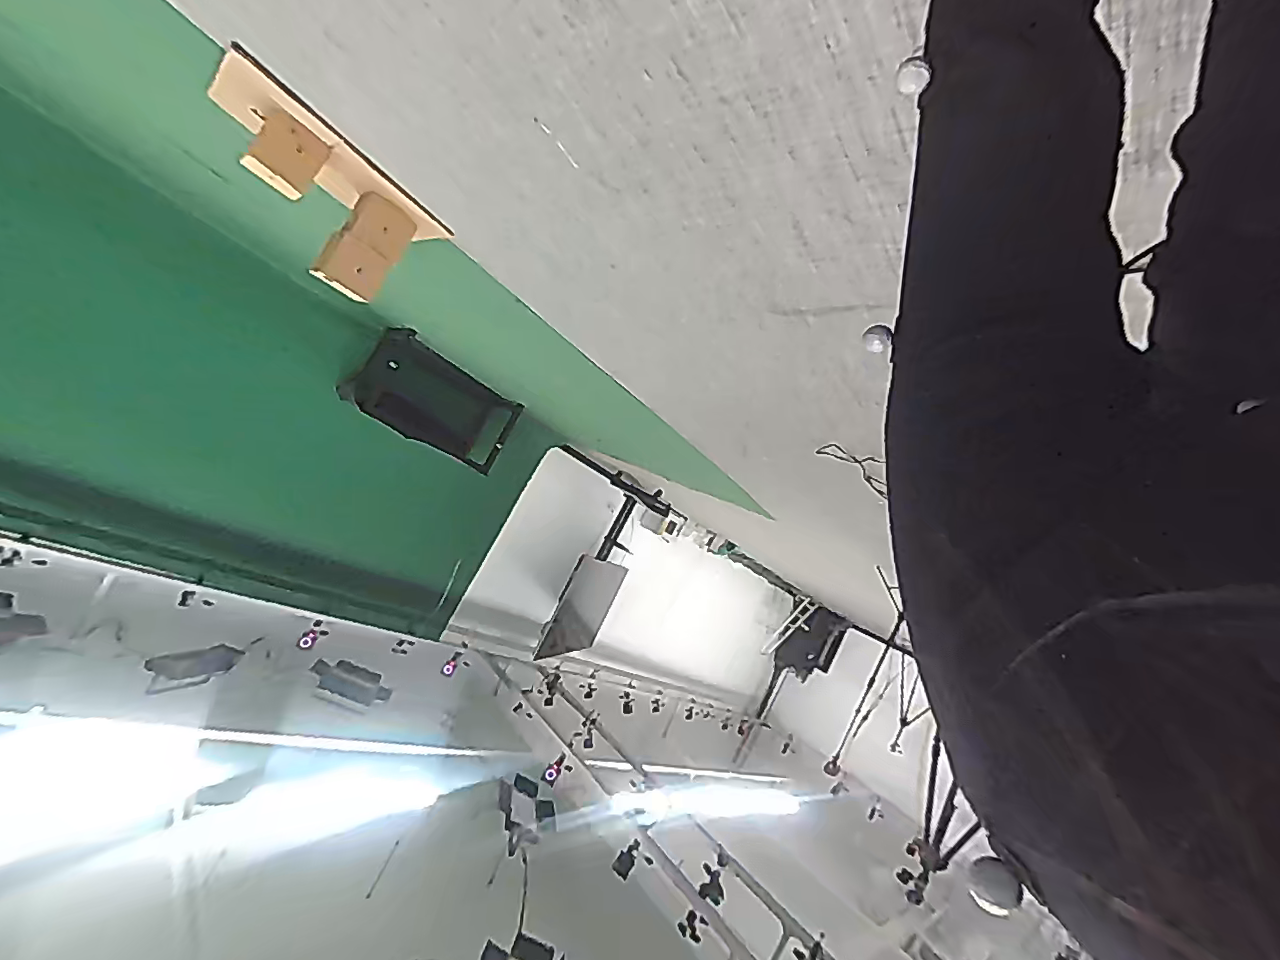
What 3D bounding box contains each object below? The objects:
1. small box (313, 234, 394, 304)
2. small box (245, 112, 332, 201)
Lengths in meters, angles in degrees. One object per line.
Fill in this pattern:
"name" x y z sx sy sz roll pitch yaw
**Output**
"small box" -1.023 -0.757 1.934 0.168 0.176 0.179 23 174 42
"small box" -1.122 -1.029 1.730 0.179 0.176 0.168 21 171 46
